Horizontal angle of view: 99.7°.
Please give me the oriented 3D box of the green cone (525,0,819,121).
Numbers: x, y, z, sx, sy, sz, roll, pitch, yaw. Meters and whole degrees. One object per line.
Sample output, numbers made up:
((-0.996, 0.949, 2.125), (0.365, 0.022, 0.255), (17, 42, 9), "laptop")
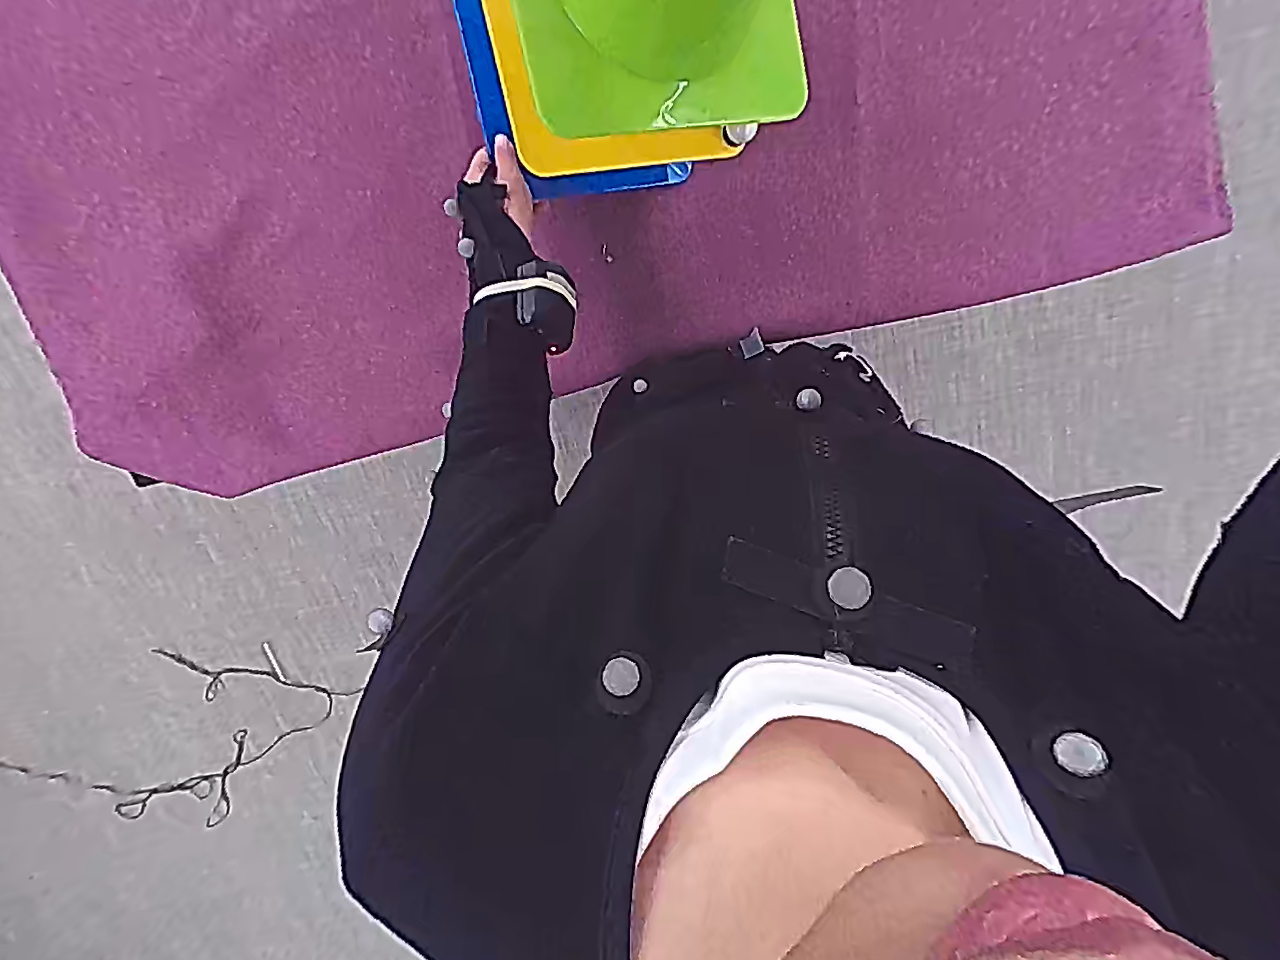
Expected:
((0.064, -0.323, 0.177), (0.200, 0.368, 0.202), (-15, 100, -14), "green cone")
